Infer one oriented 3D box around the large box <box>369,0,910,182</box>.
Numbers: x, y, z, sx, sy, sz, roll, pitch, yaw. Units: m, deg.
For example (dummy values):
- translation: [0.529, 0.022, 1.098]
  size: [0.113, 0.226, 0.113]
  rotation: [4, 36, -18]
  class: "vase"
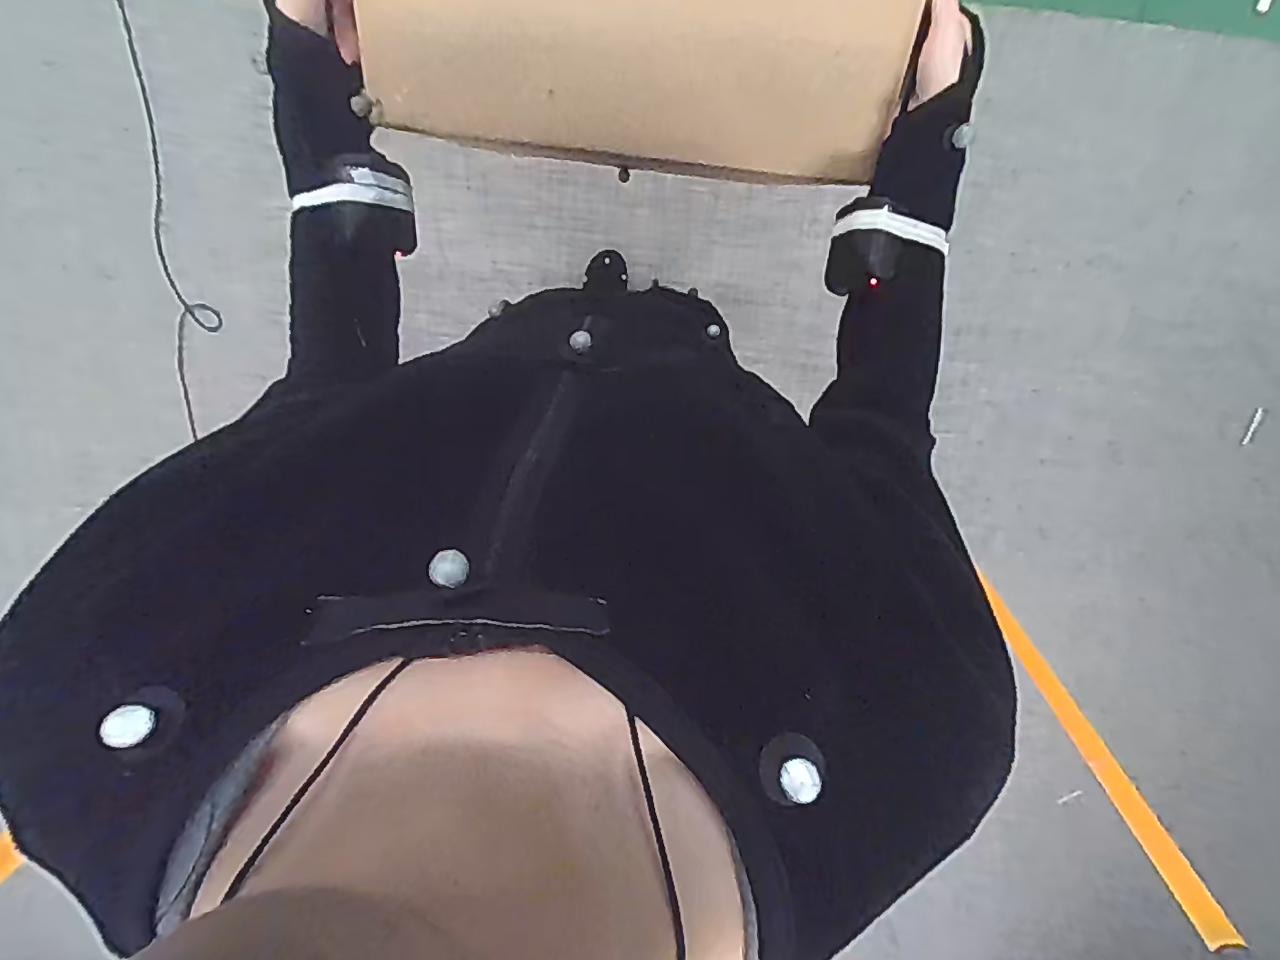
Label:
- translation: [0.002, -0.471, 0.500]
  size: [0.408, 0.320, 0.320]
  rotation: [4, 118, -6]
  class: "large box"
